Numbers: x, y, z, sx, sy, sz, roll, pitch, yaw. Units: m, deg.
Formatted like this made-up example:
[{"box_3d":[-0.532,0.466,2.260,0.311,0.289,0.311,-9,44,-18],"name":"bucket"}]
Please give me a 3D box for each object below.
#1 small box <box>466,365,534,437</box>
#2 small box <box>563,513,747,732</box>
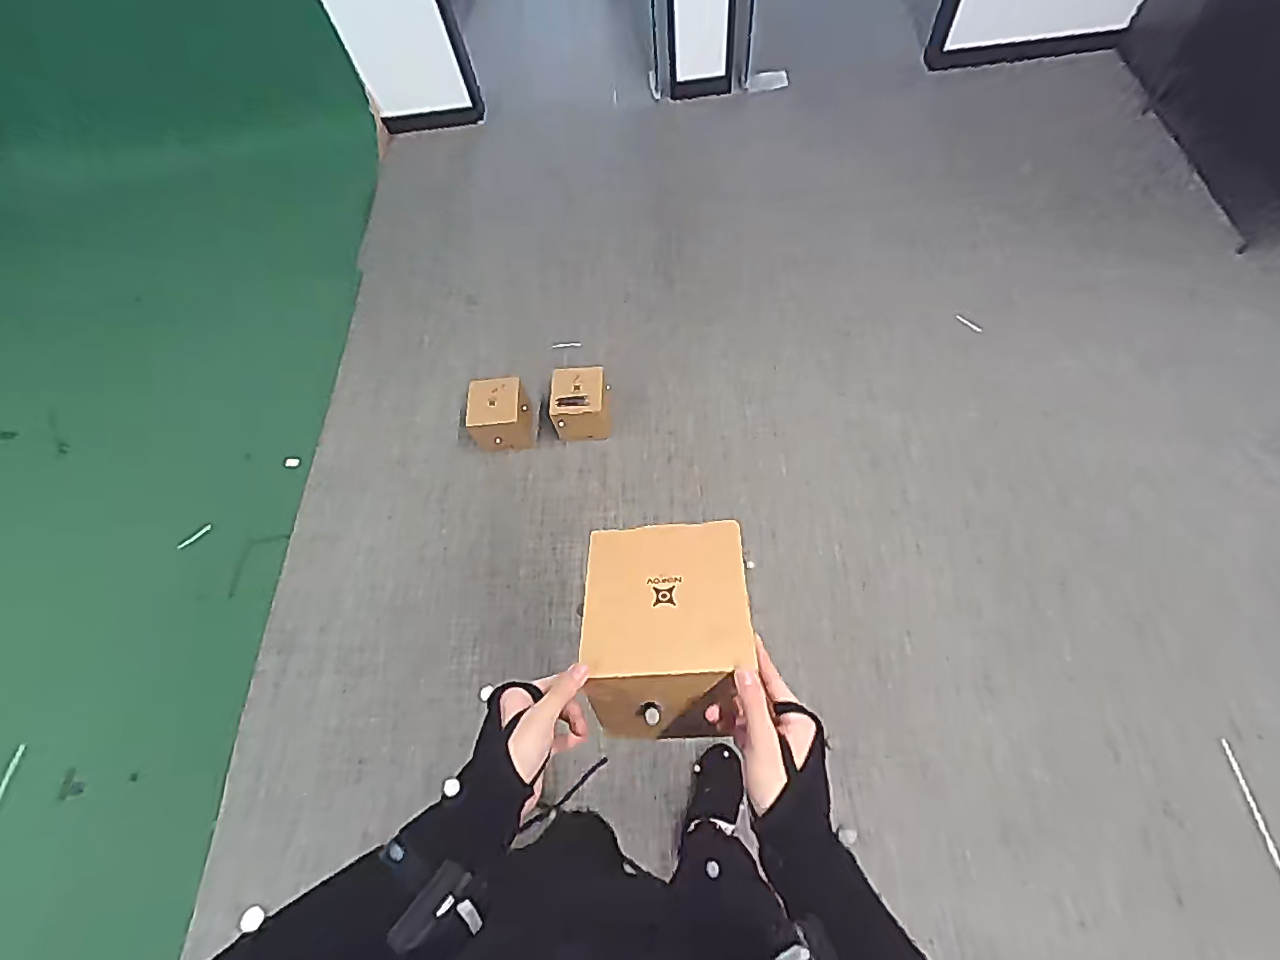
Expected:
[{"box_3d":[-0.450,-0.250,1.764,0.168,0.176,0.179,-3,64,3],"name":"small box"},{"box_3d":[0.025,0.159,0.584,0.168,0.176,0.179,-4,45,6],"name":"small box"}]
